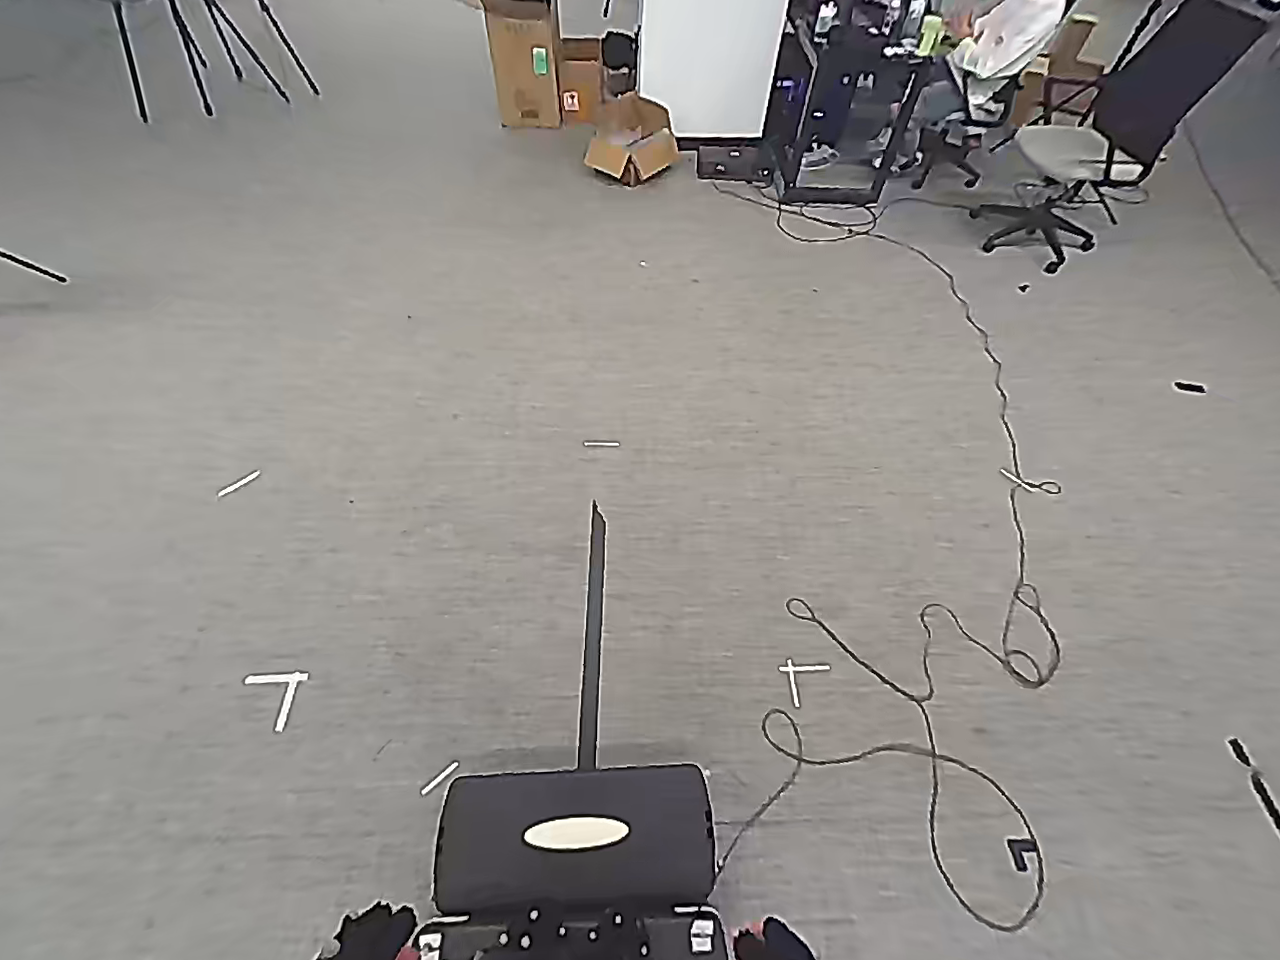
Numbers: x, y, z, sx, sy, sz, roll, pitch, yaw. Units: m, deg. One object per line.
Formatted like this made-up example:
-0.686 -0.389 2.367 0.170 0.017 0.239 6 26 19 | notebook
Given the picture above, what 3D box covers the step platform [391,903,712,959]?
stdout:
-0.182 1.084 1.130 0.684 0.204 0.286 -1 54 -2 | step platform
